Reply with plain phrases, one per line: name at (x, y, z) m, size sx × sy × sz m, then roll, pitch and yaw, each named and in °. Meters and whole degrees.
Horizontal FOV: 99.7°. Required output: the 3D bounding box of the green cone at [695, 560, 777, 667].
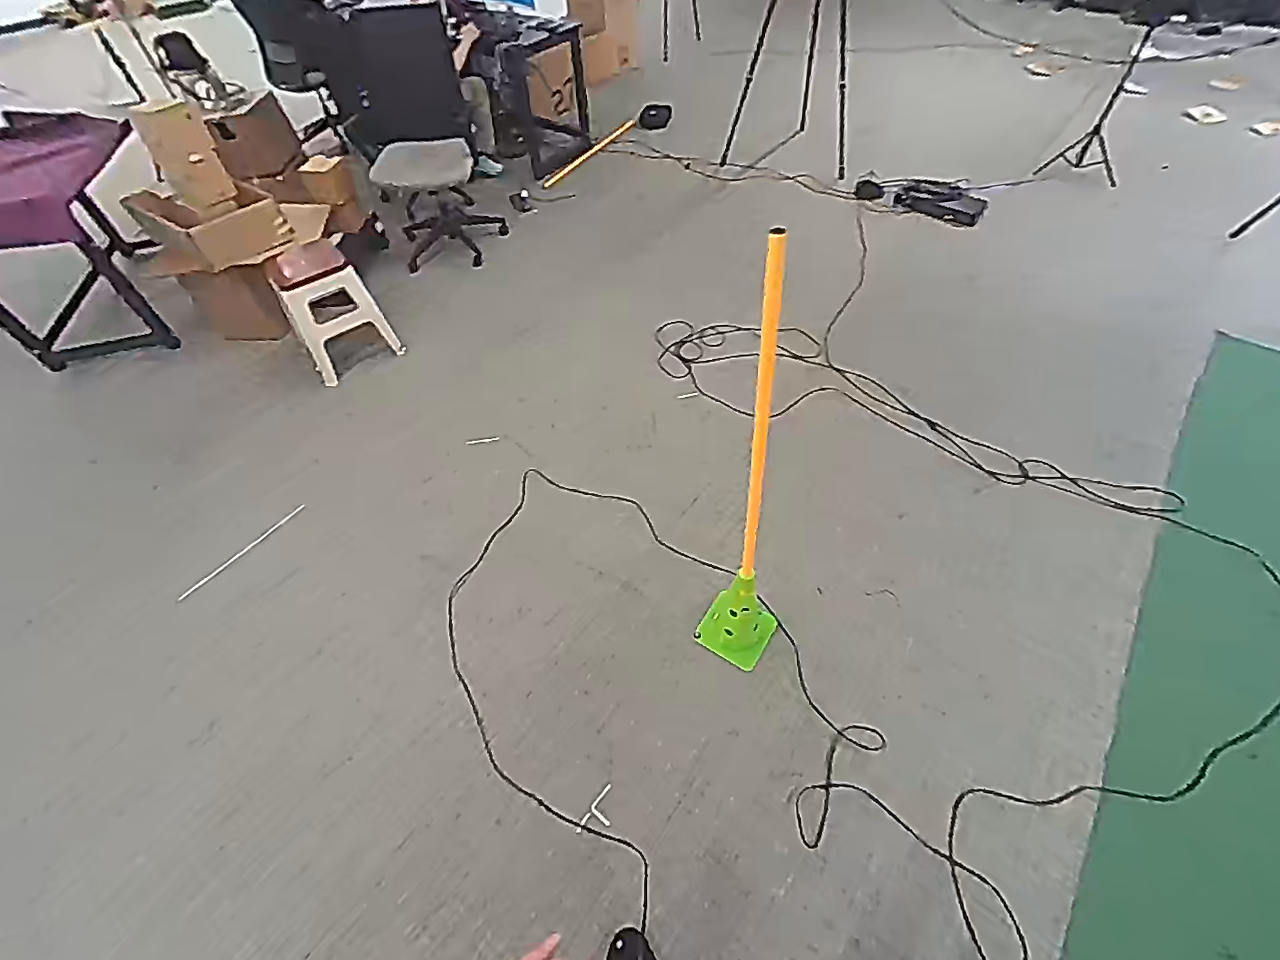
green cone at (0.287, 0.339, 1.514) m, size 0.200 × 0.368 × 0.202 m, roll 27°, pitch 56°, yaw 22°
